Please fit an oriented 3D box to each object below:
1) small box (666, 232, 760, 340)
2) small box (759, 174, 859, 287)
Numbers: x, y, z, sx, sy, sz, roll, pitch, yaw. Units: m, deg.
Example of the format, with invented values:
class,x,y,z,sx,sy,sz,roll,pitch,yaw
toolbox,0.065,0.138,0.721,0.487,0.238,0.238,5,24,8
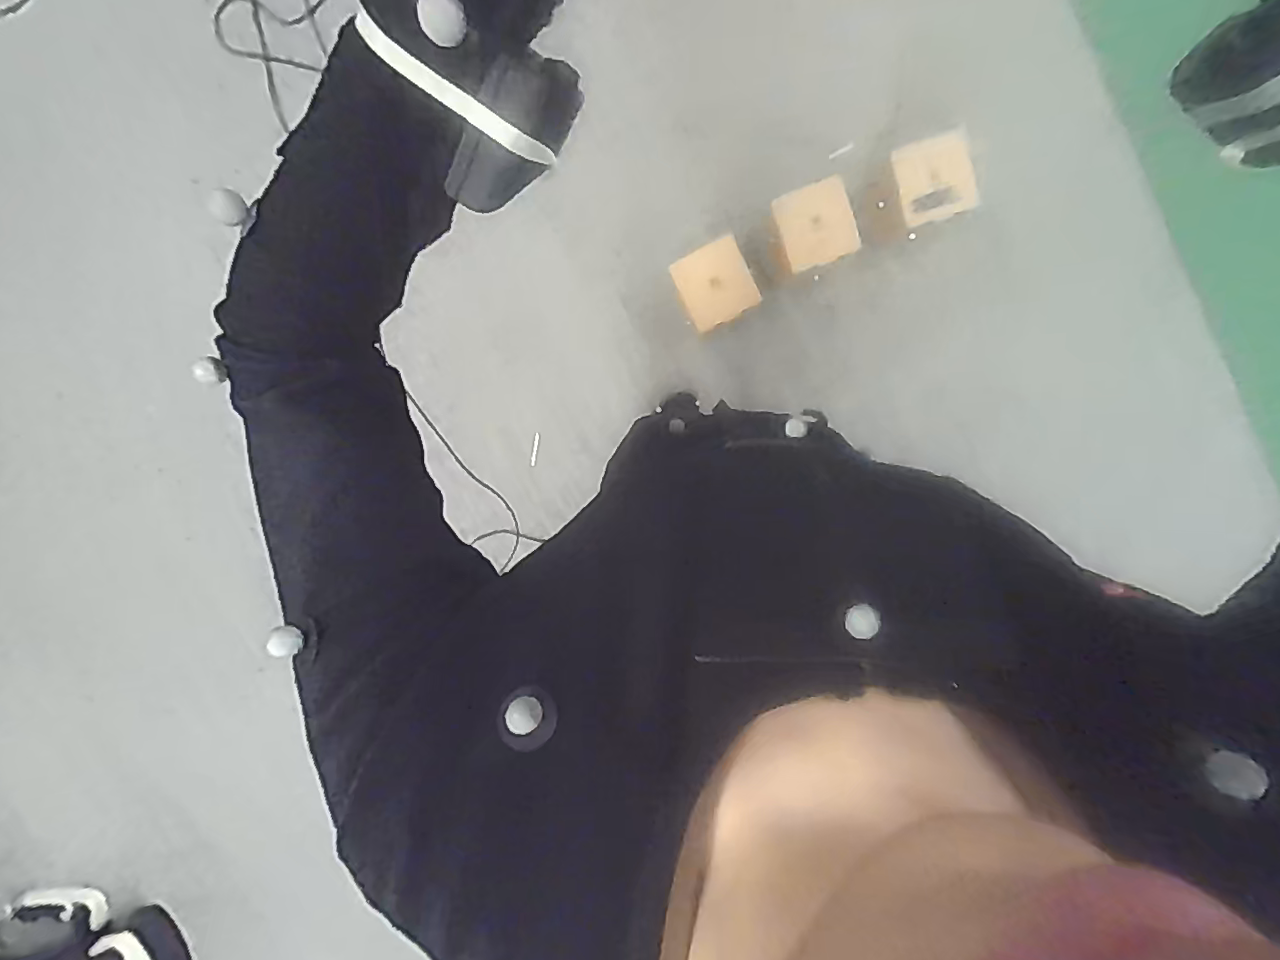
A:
class,x,y,z,sx,sy,sz,roll,pitch,yaw
small box,0.172,-0.467,1.329,0.168,0.176,0.179,-27,95,6
small box,0.397,-0.589,1.300,0.168,0.176,0.179,-19,96,6
